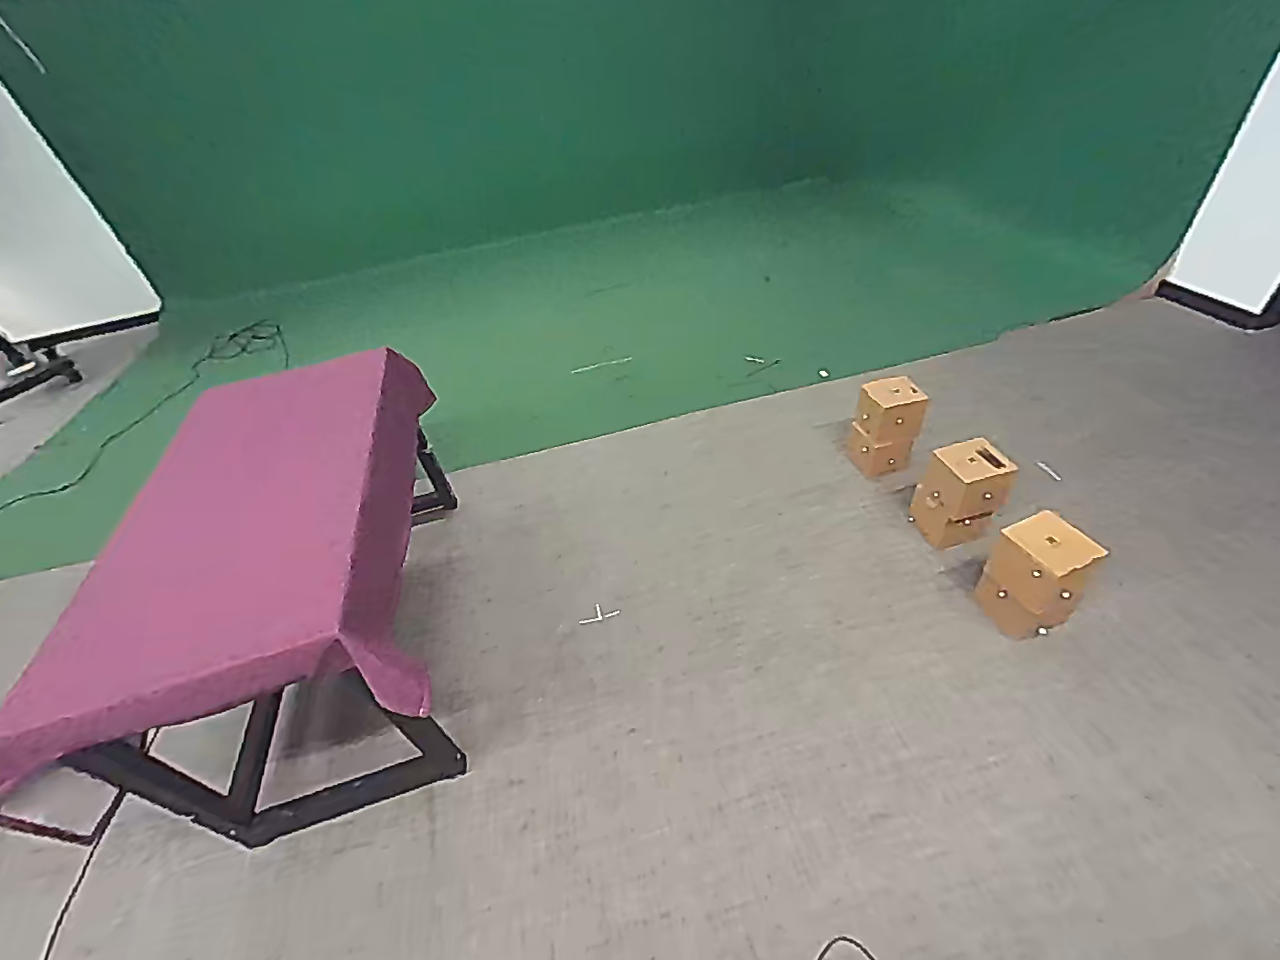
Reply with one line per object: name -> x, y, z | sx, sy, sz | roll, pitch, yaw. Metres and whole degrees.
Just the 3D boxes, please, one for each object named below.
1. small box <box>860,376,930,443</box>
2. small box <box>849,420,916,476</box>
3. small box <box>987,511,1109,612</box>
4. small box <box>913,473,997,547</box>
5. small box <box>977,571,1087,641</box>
small box -> 0.939, -0.260, 2.011 | 0.179, 0.176, 0.168 | -13, 42, -2
small box -> 0.945, -0.134, 2.118 | 0.168, 0.176, 0.179 | -15, 42, -5
small box -> 1.084, 0.220, 1.456 | 0.168, 0.176, 0.179 | -20, 43, -10
small box -> 1.054, 0.105, 1.831 | 0.179, 0.176, 0.168 | -14, 42, -5
small box -> 1.122, 0.332, 1.568 | 0.168, 0.176, 0.179 | -17, 43, -5
